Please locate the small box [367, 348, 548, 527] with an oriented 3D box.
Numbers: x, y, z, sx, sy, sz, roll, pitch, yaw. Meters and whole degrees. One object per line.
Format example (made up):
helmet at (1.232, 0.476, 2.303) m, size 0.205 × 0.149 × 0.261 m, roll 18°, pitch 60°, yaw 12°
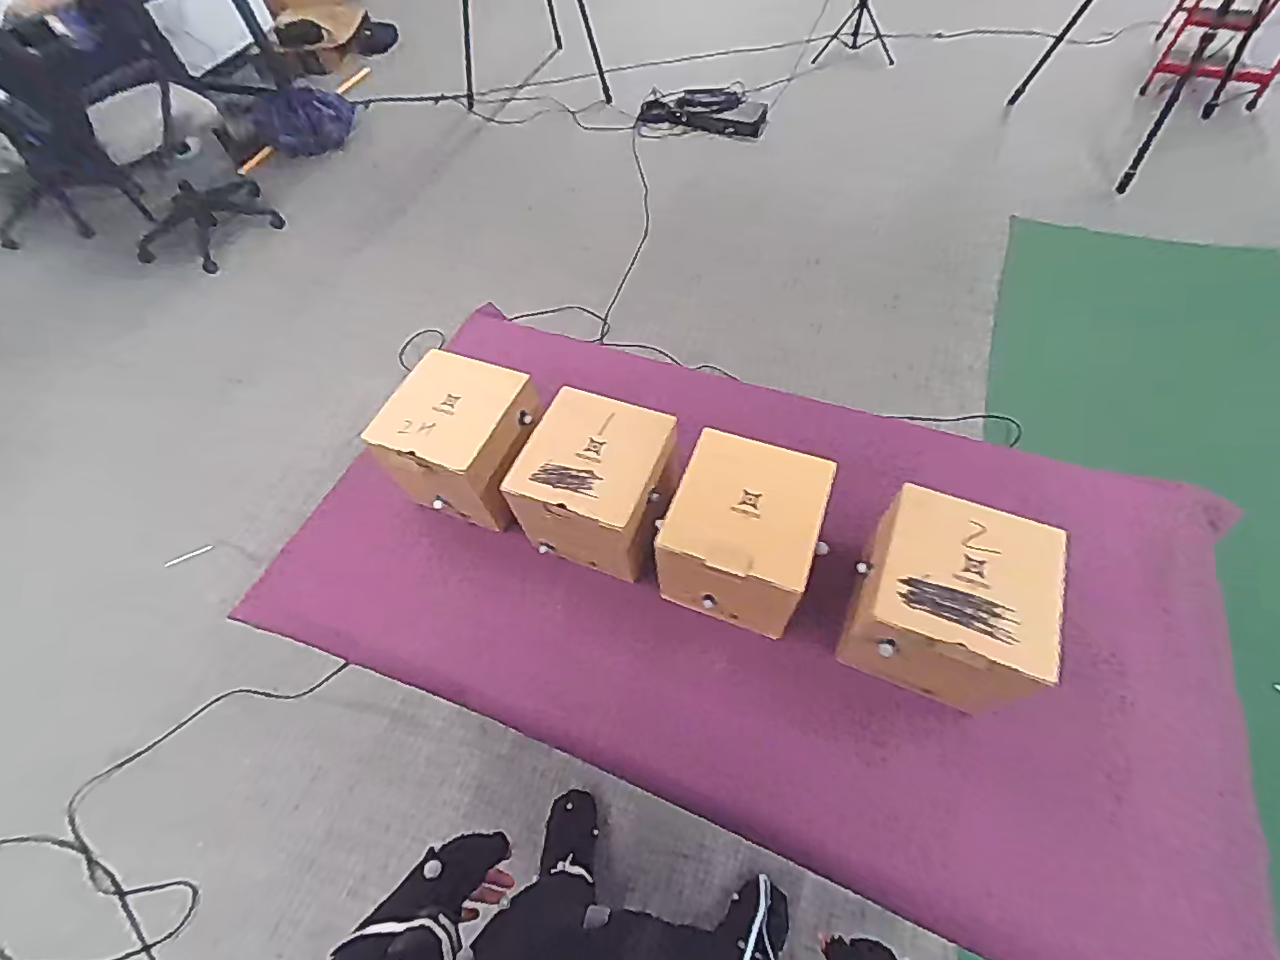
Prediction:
small box at (-0.250, -0.060, 0.798) m, size 0.168 × 0.176 × 0.179 m, roll 17°, pitch 62°, yaw 15°
